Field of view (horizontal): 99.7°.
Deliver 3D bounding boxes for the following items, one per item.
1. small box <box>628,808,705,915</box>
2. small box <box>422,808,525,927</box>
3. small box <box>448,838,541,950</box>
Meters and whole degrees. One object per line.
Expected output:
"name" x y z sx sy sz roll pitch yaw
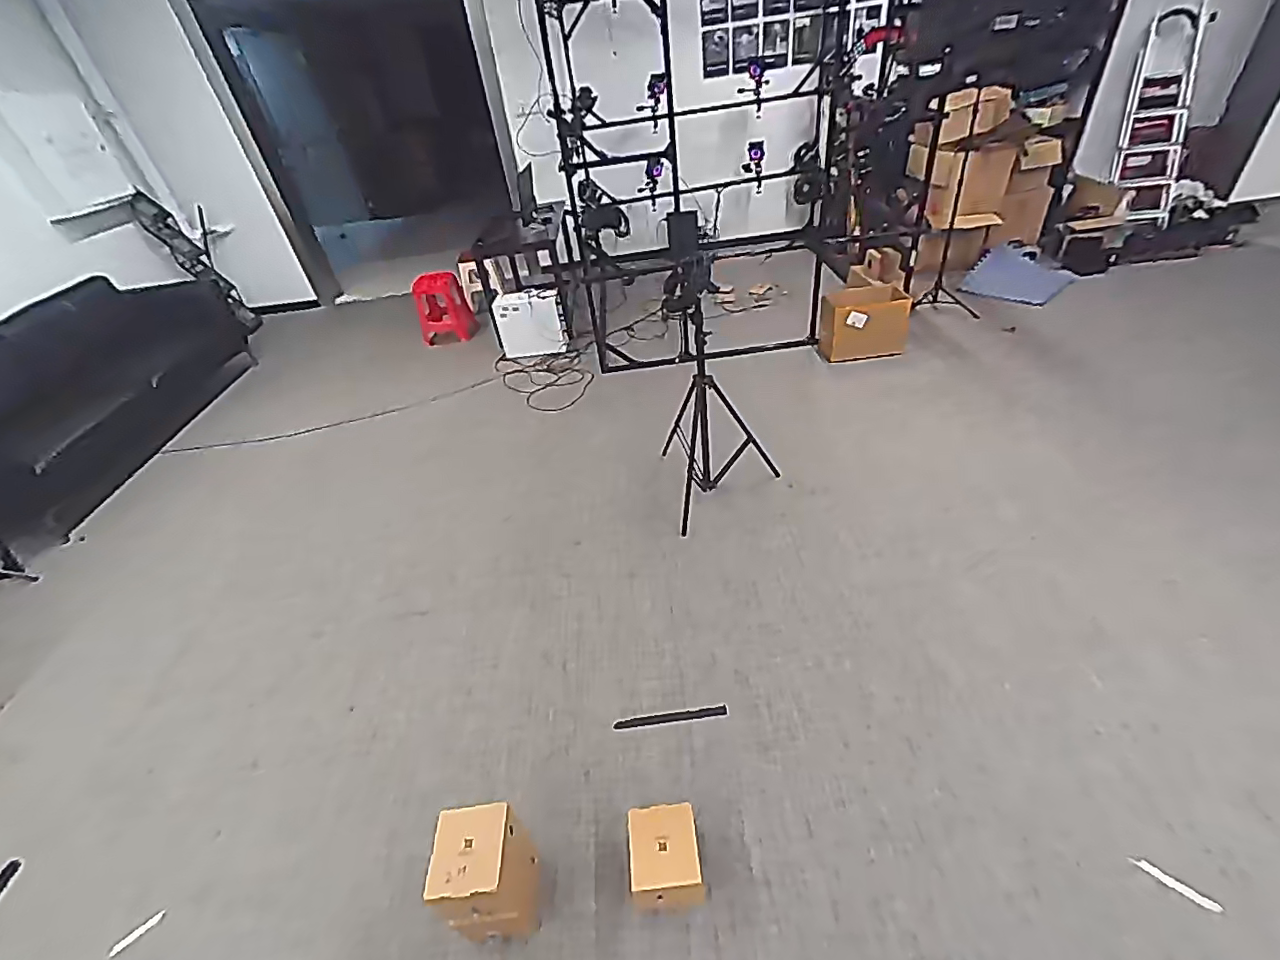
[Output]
"small box" 0.066 0.950 1.341 0.168 0.176 0.179 -8 37 1
"small box" -0.369 0.887 1.239 0.168 0.176 0.179 -9 38 2
"small box" -0.347 1.020 1.332 0.168 0.176 0.179 -9 38 2
